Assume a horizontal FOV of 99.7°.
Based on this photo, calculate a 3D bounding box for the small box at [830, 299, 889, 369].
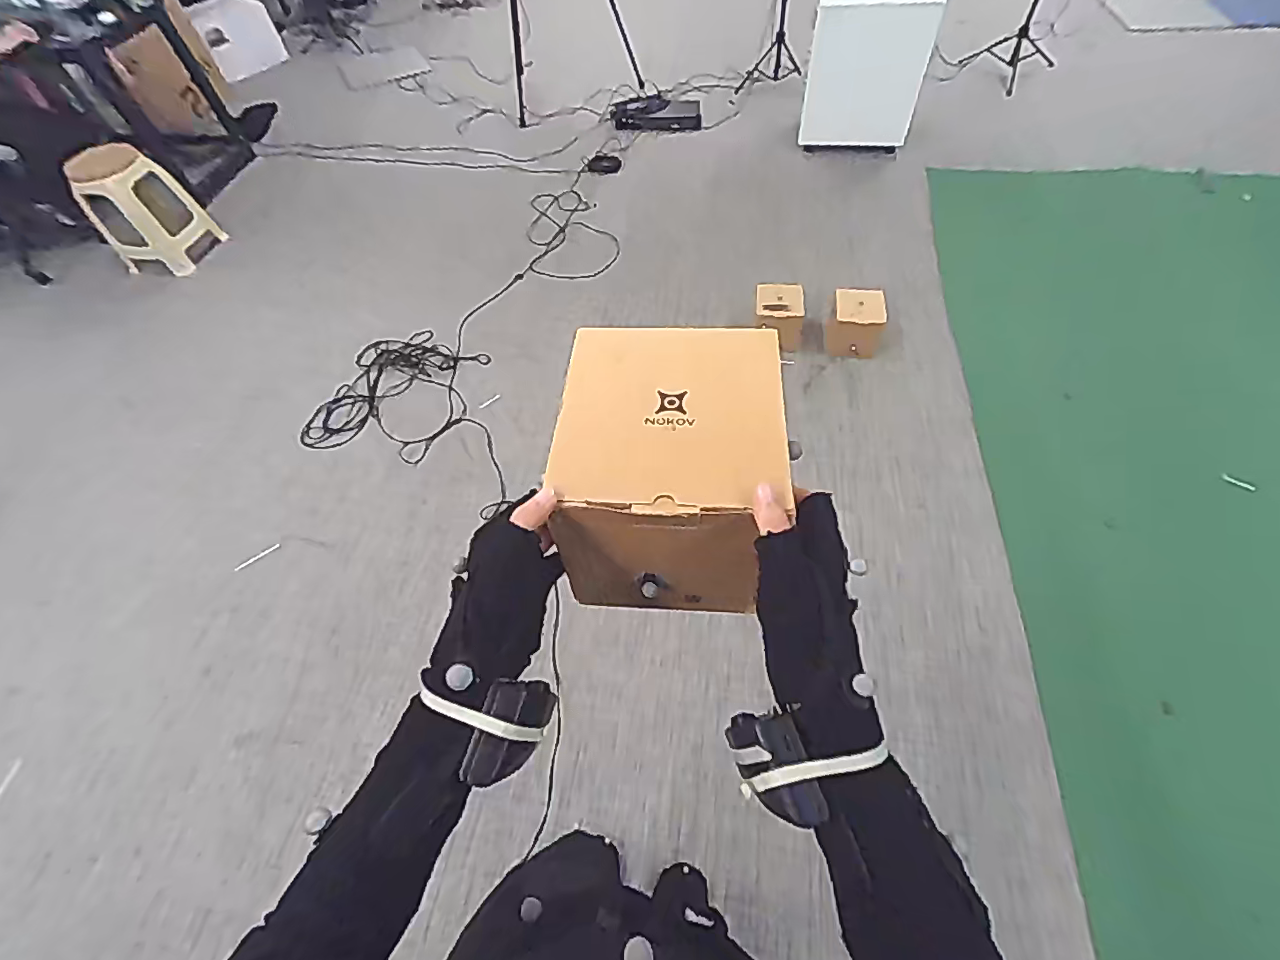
[{"bbox_3d":[0.792,-0.532,1.967,0.168,0.176,0.179,6,57,10],"label":"small box"}]
